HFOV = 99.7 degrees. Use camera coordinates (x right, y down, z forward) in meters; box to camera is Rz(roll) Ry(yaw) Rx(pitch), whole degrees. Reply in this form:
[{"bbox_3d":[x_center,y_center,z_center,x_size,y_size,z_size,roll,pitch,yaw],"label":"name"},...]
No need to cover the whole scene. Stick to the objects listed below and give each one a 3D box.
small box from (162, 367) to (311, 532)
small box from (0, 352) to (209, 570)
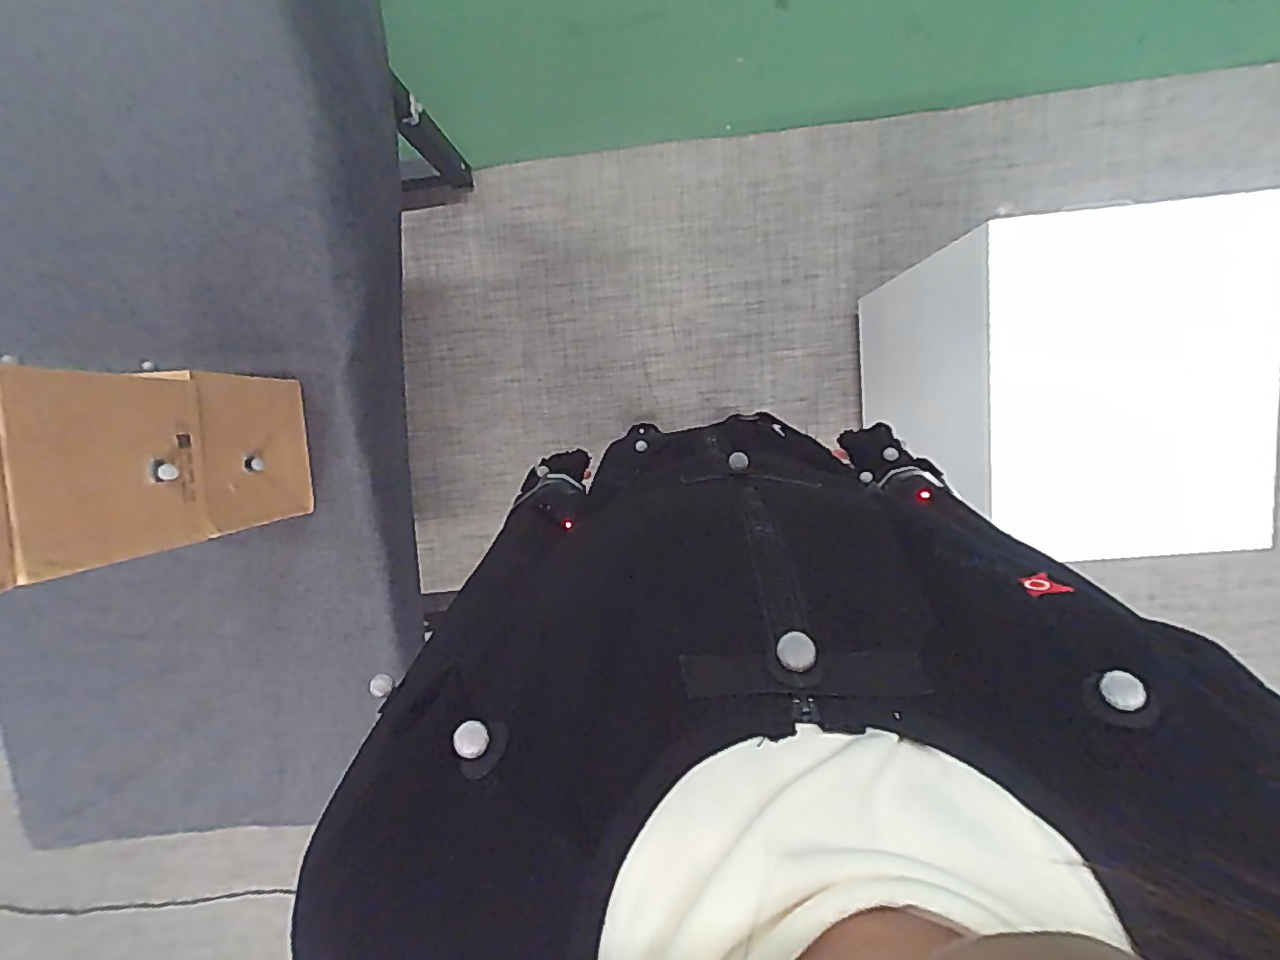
[{"bbox_3d":[-0.530,-0.041,0.651,0.168,0.176,0.179,-2,98,5],"label":"small box"},{"bbox_3d":[-0.547,-0.020,0.488,0.179,0.176,0.168,-2,97,6],"label":"small box"}]
